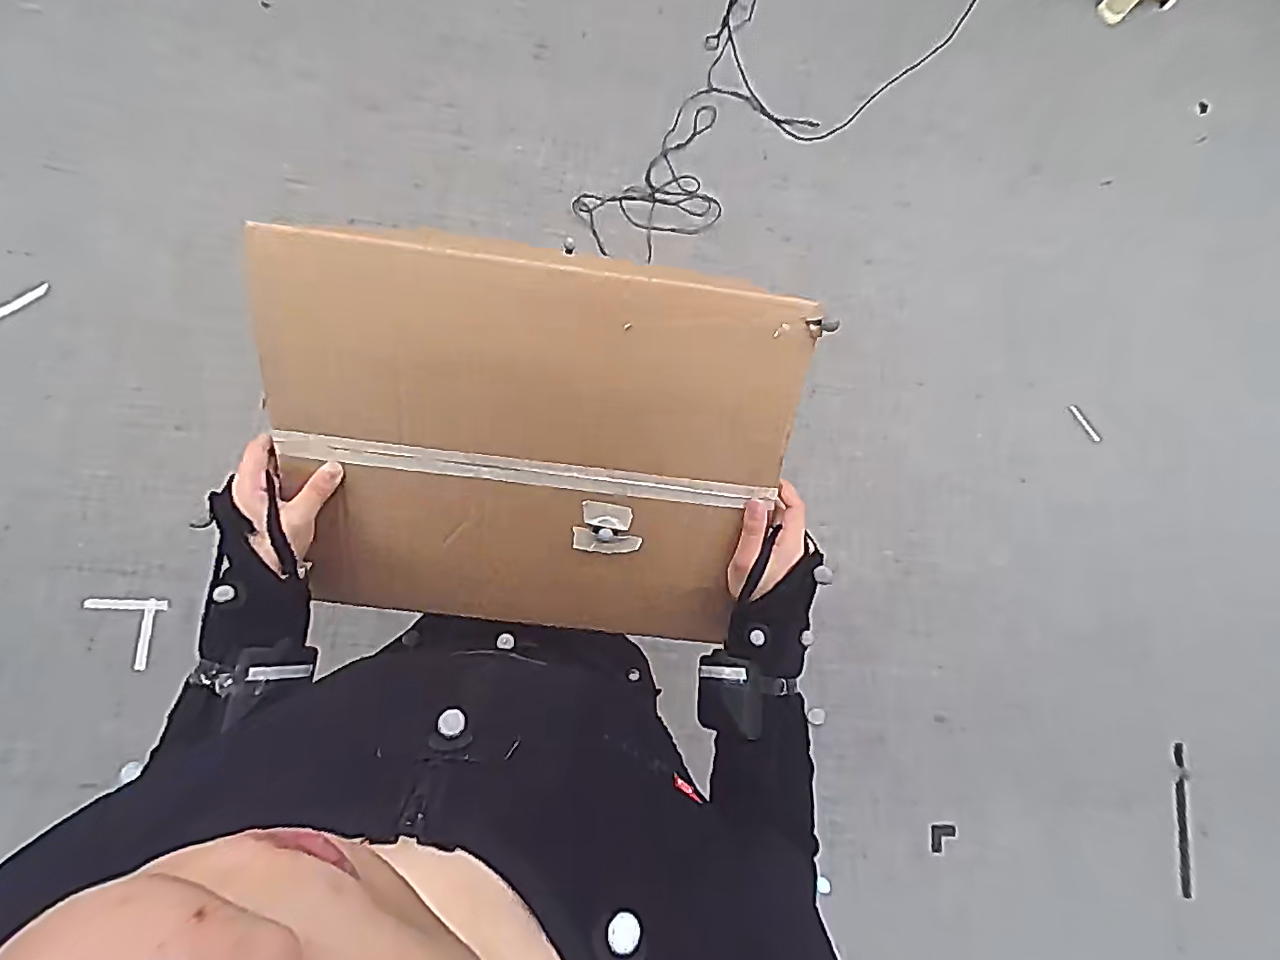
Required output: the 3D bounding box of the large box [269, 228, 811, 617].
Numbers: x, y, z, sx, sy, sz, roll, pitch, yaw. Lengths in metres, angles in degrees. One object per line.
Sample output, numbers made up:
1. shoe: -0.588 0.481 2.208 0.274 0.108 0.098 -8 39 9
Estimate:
1. large box: -0.089 -0.082 0.590 0.408 0.320 0.320 6 115 -4
